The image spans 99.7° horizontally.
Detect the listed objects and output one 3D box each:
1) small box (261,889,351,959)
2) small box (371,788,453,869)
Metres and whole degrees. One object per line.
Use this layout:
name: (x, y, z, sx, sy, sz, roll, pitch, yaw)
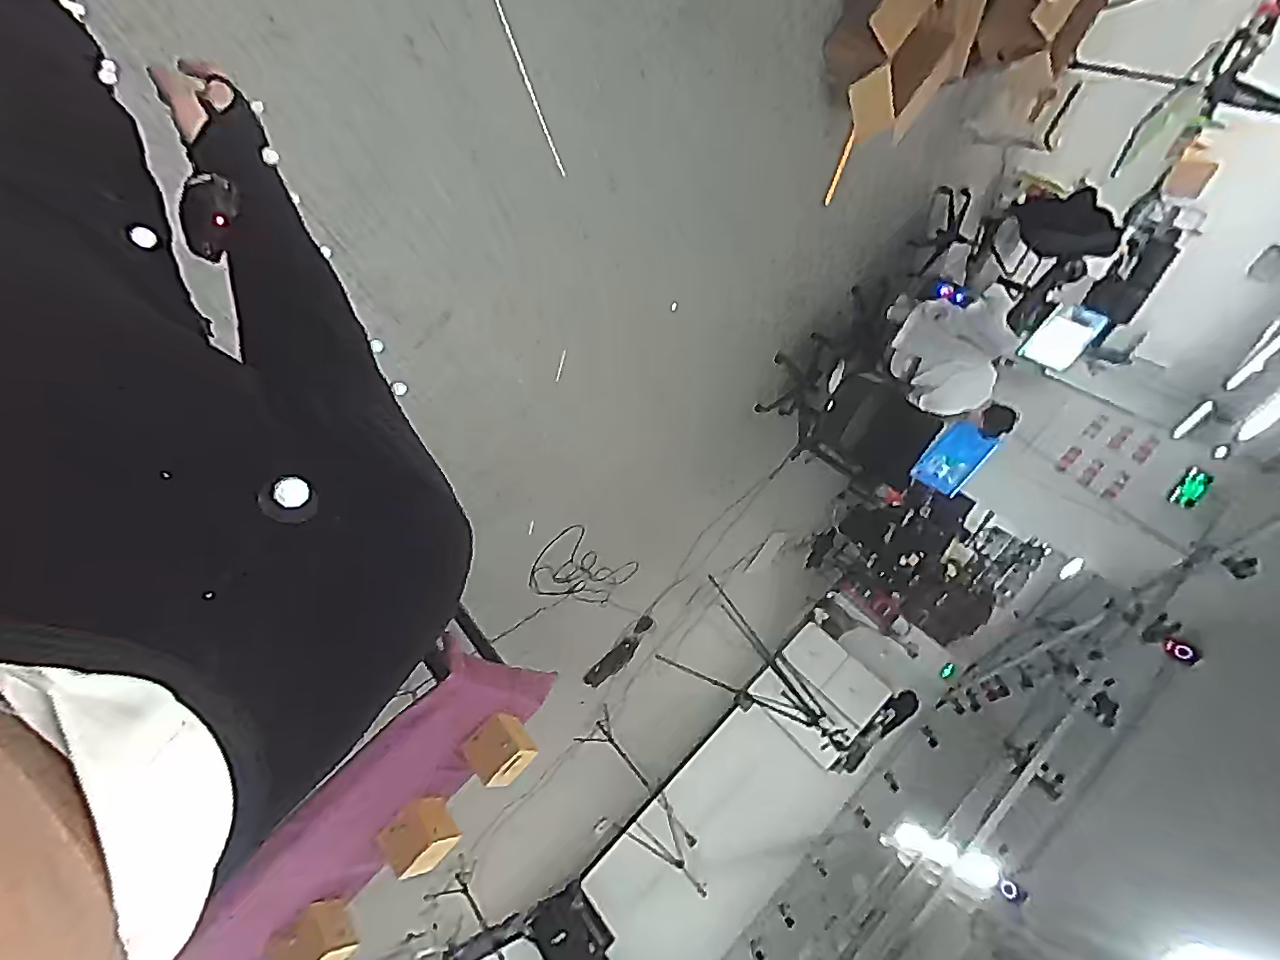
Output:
small box: (-1.130, 1.528, 1.829, 0.168, 0.176, 0.179, -41, 150, -16)
small box: (-0.807, 1.223, 1.915, 0.168, 0.176, 0.179, -46, 150, -6)
